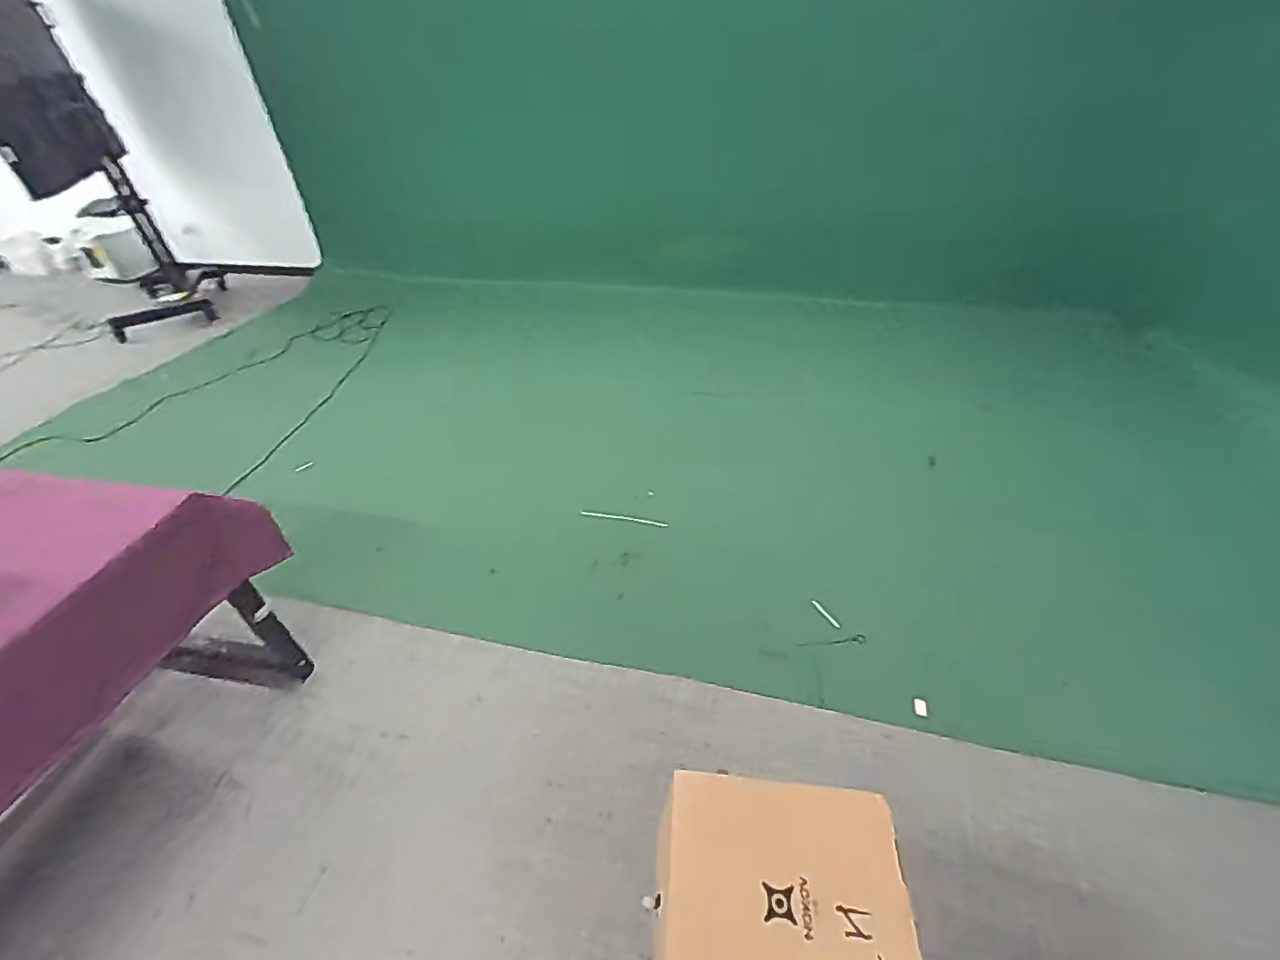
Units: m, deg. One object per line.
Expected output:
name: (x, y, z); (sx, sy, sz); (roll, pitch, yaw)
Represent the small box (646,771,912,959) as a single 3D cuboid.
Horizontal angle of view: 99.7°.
small box: (0.096, 0.361, 0.438); (0.179, 0.176, 0.168); (6, 44, 1)
